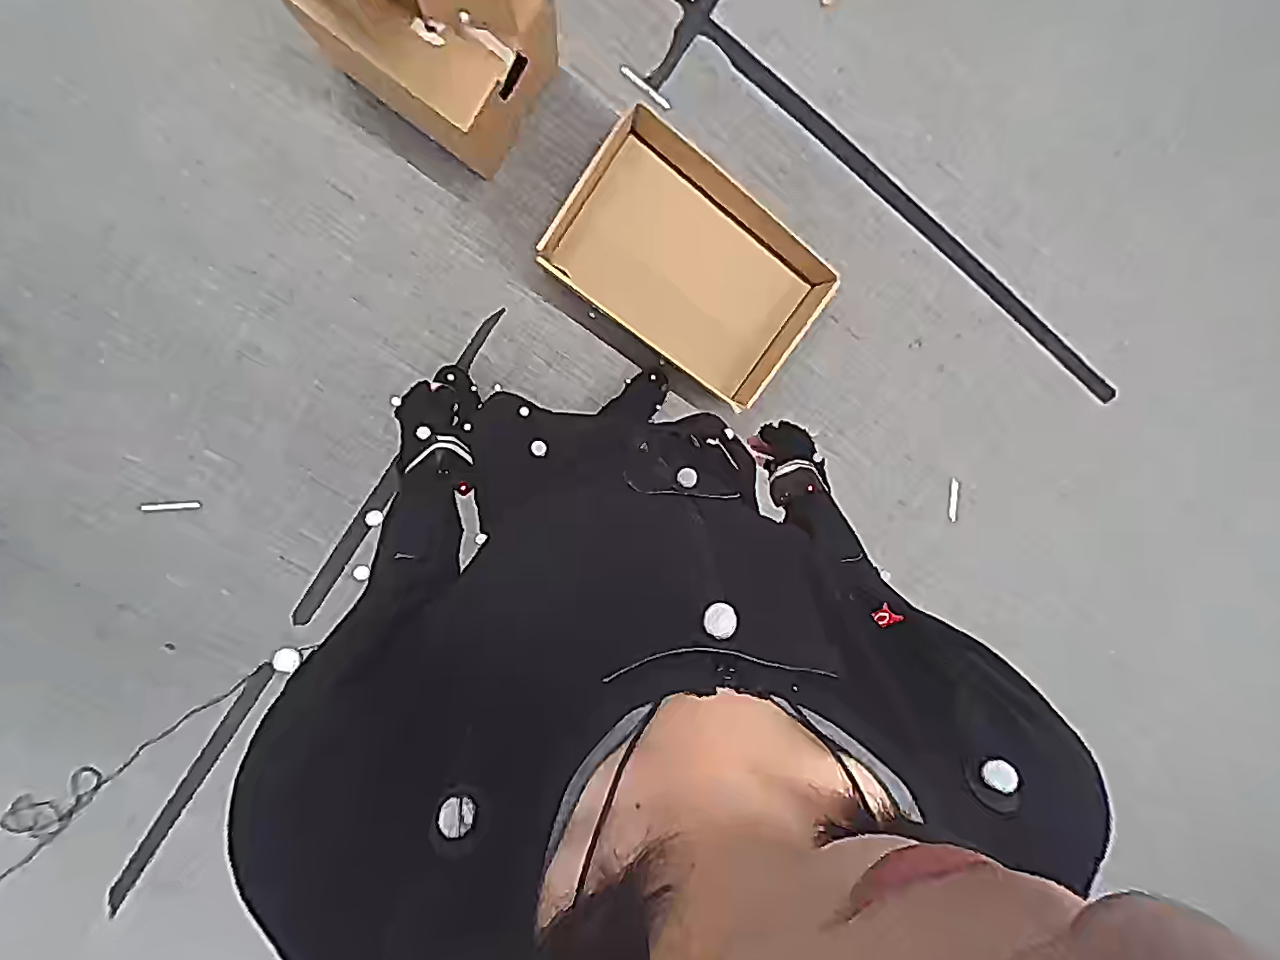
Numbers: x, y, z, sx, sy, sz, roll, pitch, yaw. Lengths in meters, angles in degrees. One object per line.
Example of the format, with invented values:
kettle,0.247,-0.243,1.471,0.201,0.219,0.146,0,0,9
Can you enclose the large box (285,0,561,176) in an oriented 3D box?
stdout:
large box,-0.410,-0.915,1.093,0.408,0.320,0.320,32,99,-14
